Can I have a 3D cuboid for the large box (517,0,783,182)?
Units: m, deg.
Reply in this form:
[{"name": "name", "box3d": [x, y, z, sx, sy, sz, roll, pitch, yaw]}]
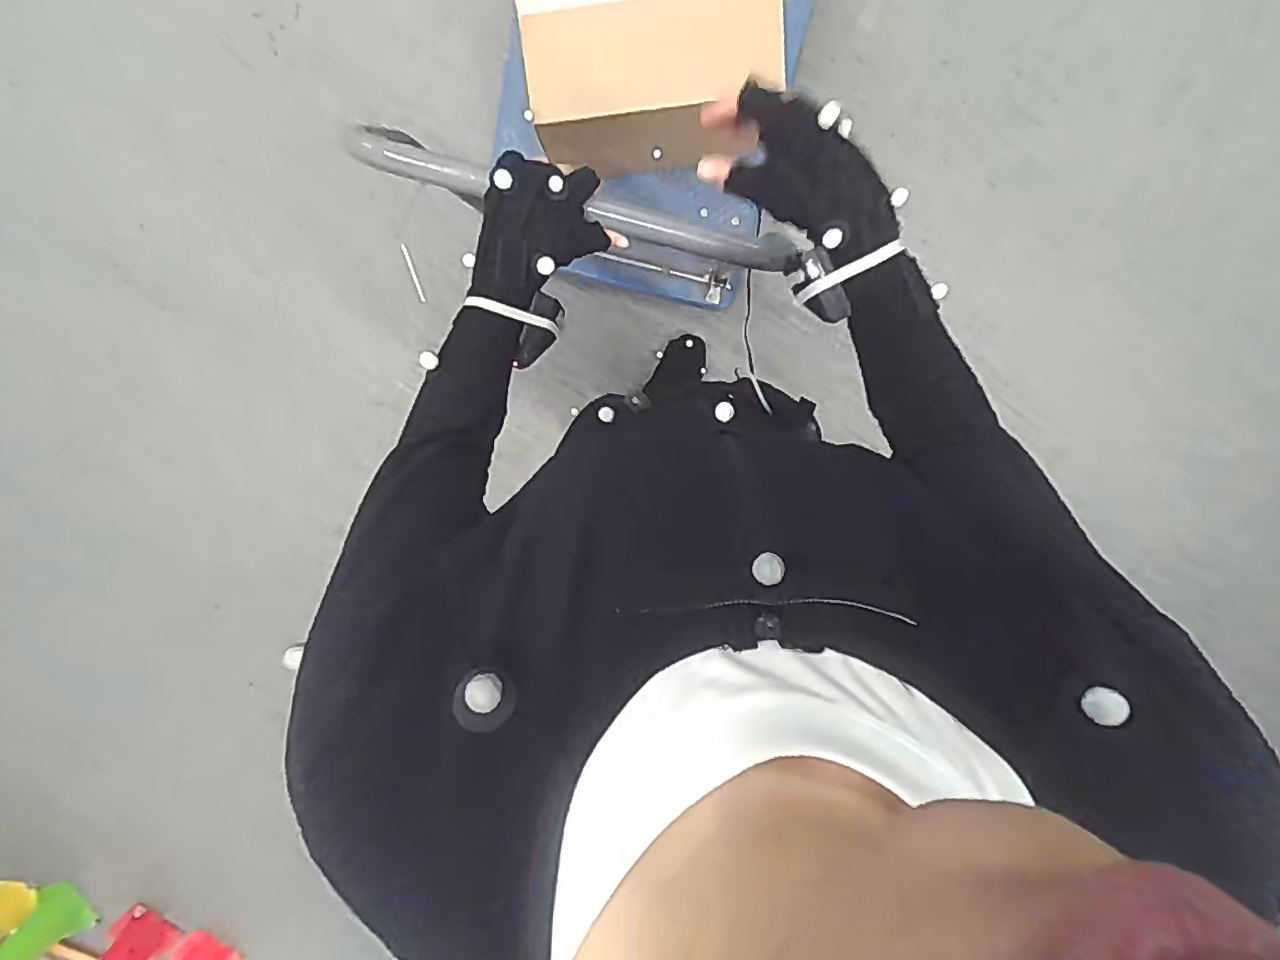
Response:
[{"name": "large box", "box3d": [0.014, -0.772, 0.973, 0.408, 0.320, 0.320, -7, 102, 3]}]
